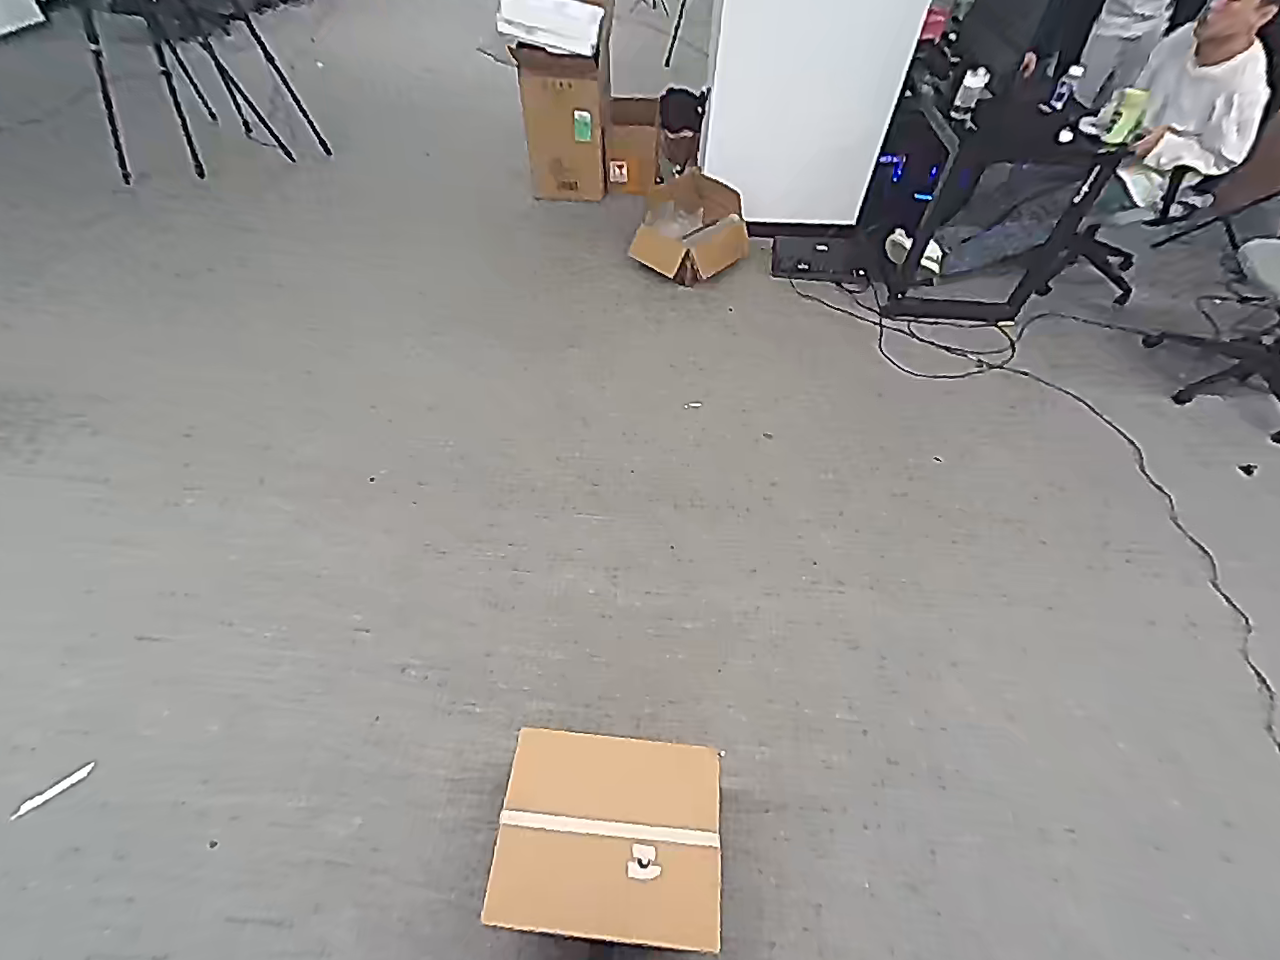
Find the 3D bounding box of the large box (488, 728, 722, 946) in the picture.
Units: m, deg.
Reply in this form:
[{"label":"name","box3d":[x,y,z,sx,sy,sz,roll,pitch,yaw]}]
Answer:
[{"label":"large box","box3d":[-0.057,0.729,1.109,0.408,0.320,0.320,6,52,1]}]
